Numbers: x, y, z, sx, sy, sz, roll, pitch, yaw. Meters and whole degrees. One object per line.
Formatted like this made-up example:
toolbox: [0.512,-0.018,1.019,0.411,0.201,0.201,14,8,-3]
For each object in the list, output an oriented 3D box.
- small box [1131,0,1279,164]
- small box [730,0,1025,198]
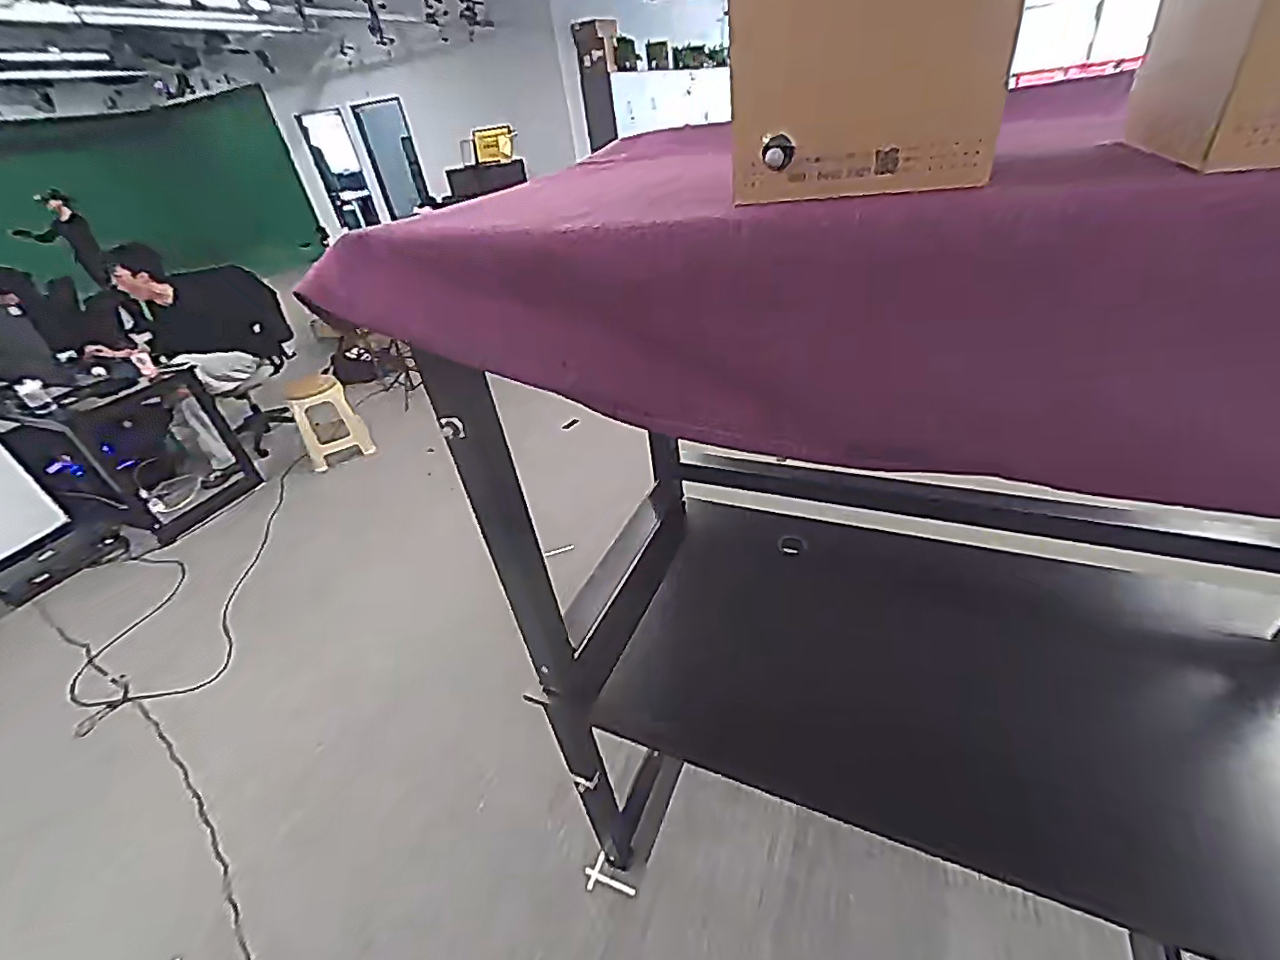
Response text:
small box: [0.399,-0.269,0.275,0.168,0.176,0.179,7,37,23]
small box: [0.165,-0.305,0.383,0.168,0.176,0.179,7,36,22]
